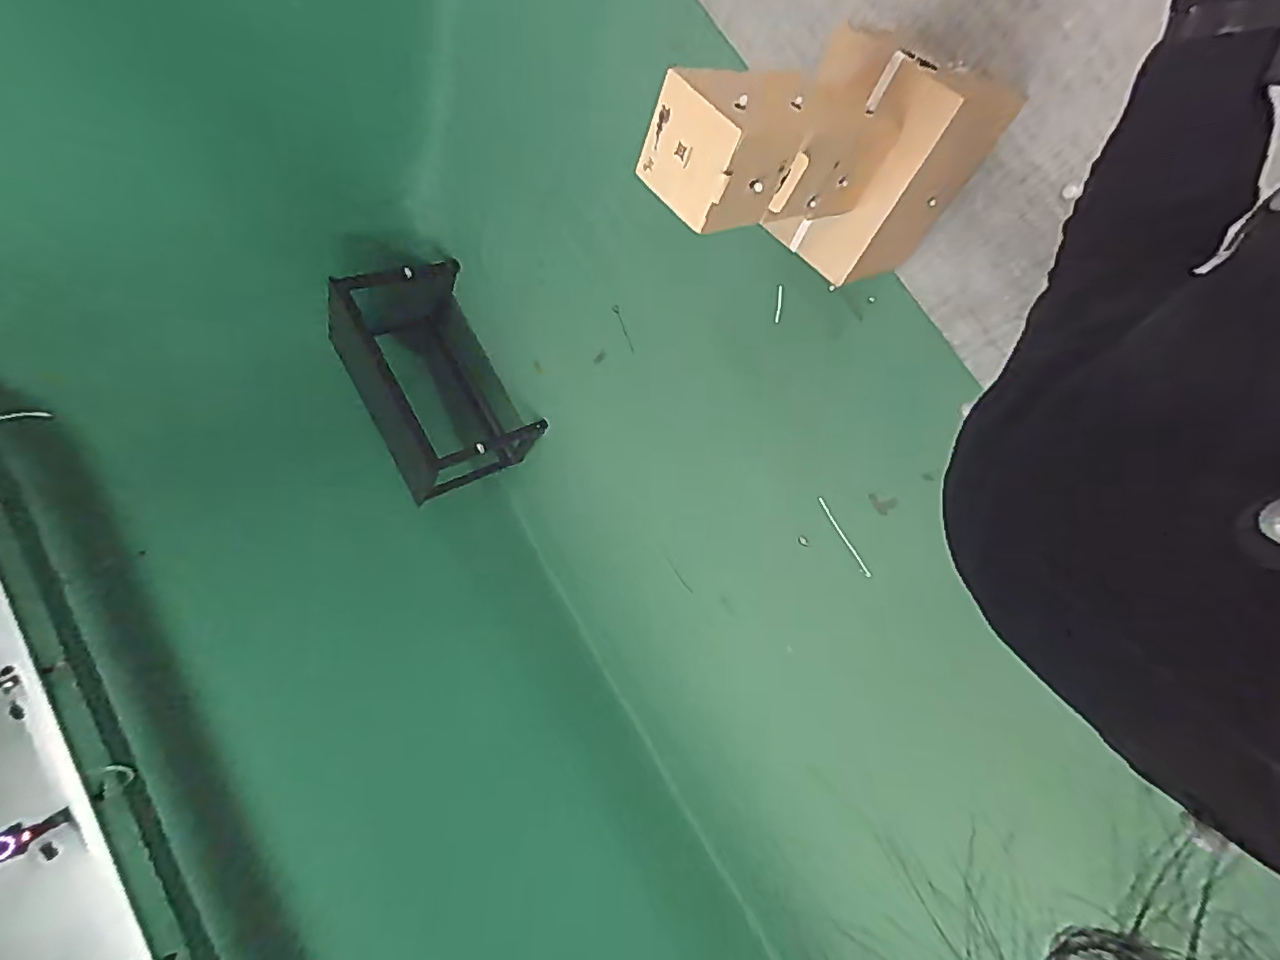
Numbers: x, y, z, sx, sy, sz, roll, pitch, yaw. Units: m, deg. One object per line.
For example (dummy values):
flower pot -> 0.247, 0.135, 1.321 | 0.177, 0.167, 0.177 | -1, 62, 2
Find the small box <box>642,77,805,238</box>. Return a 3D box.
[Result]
small box -> 0.139, -0.540, 0.904 | 0.179, 0.176, 0.168 | 51, 143, 16

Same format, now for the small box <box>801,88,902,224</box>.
small box -> 0.385, -0.651, 1.091 | 0.168, 0.176, 0.179 | 51, 144, 16

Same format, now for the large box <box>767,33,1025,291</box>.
large box -> 0.561, -0.723, 1.248 | 0.320, 0.320, 0.408 | 51, 145, 21

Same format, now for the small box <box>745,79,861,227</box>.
small box -> 0.264, -0.600, 0.992 | 0.179, 0.176, 0.168 | 52, 144, 15
